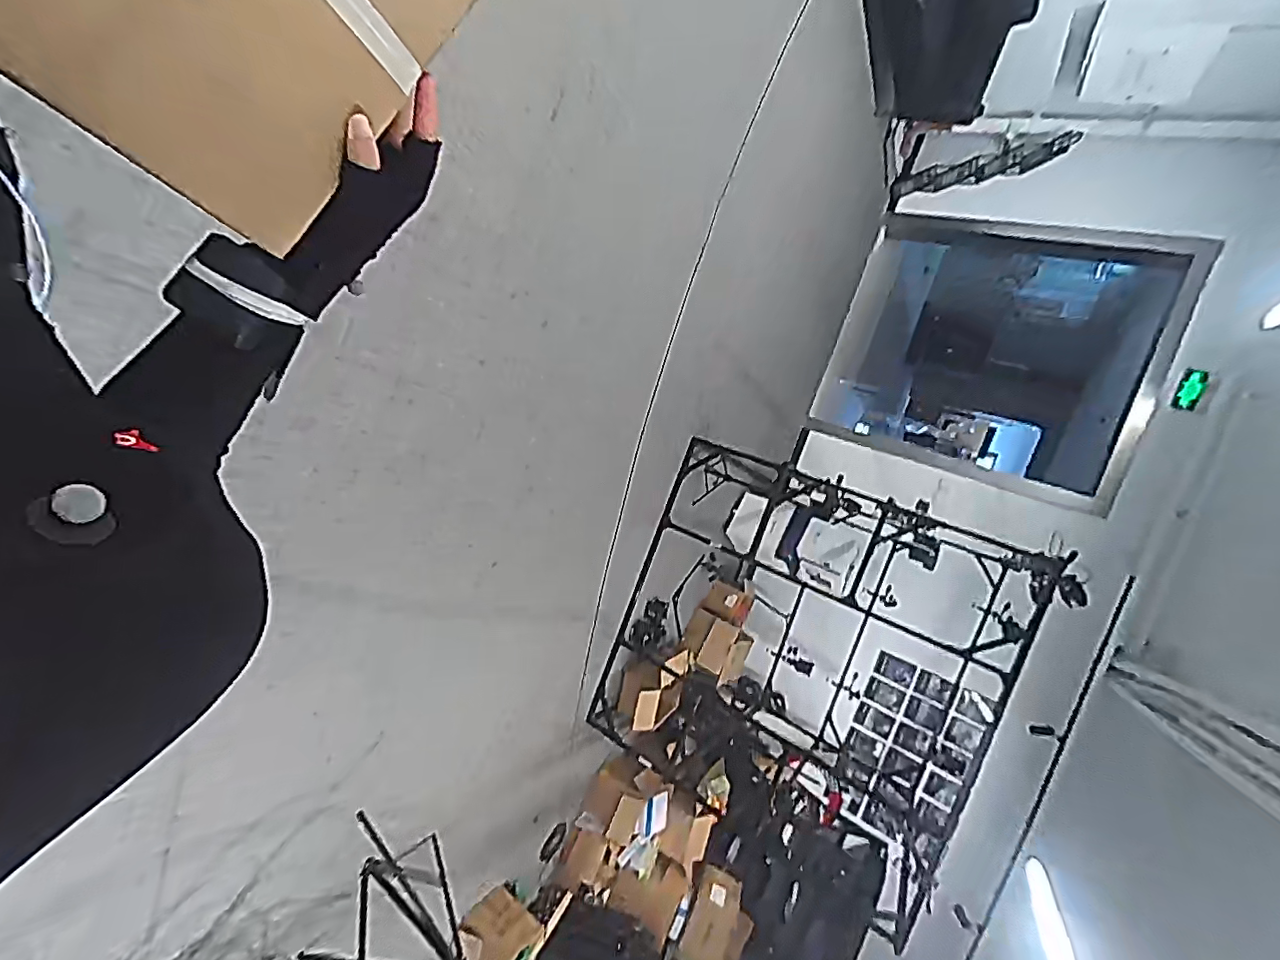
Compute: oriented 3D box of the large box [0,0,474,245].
[{"bbox_3d":[-0.356,-0.425,0.305,0.320,0.320,0.408,-53,149,-1],"label":"large box"}]
